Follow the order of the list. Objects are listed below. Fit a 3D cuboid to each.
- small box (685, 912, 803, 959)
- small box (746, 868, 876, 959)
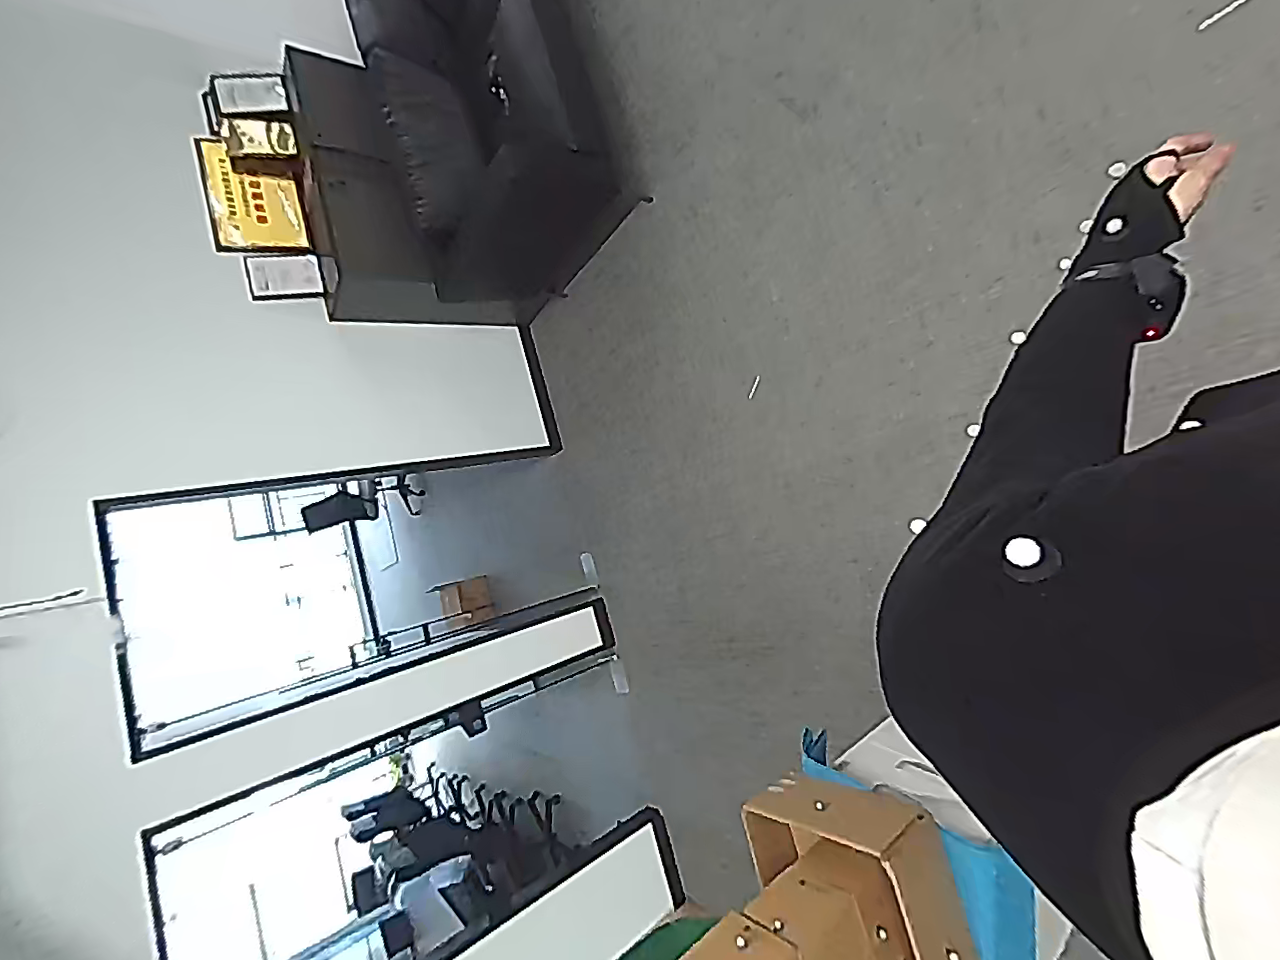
[{"bbox_3d":[0.200,0.936,0.960,0.168,0.176,0.179,-22,81,53],"label":"small box"},{"bbox_3d":[0.336,0.915,1.052,0.168,0.176,0.179,-25,80,53],"label":"small box"}]
